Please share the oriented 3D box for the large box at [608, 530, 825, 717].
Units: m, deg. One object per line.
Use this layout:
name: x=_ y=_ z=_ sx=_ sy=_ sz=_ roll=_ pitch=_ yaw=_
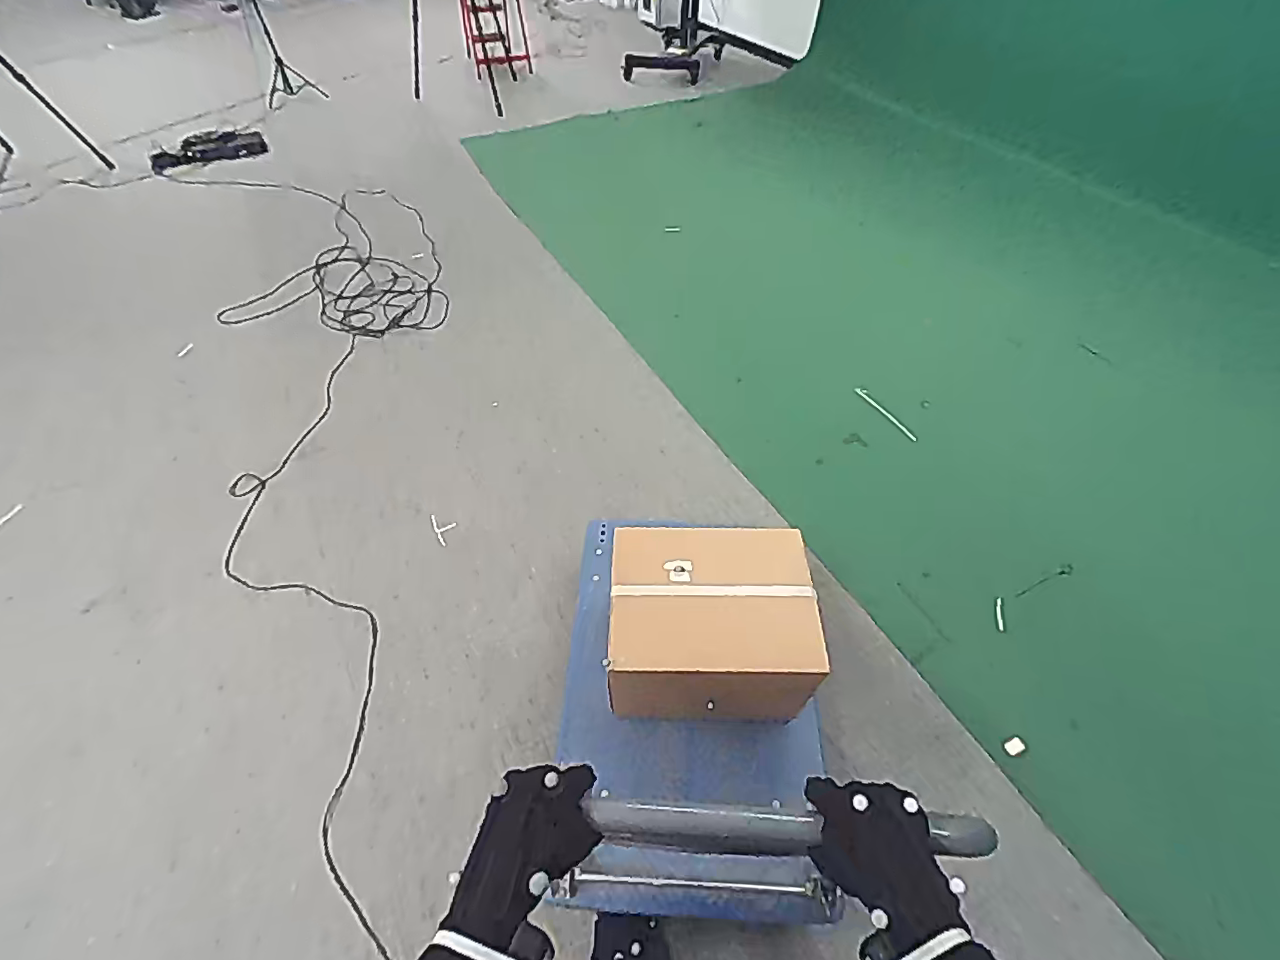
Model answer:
large box: x=0.141 y=0.322 z=1.193 sx=0.408 sy=0.320 sz=0.320 roll=0 pitch=50 yaw=0
